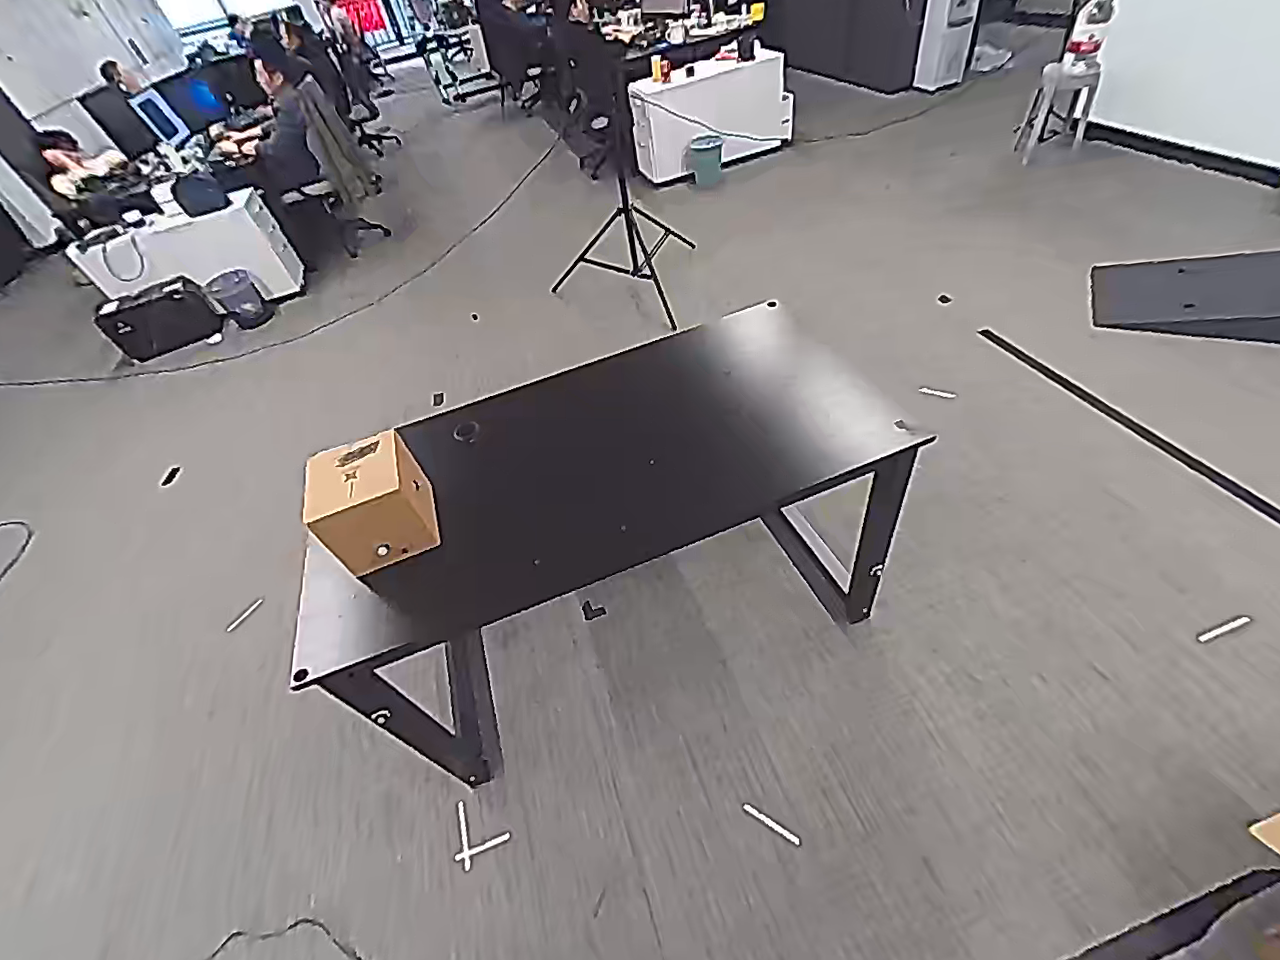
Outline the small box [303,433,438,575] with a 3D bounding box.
[{"bbox_3d":[-0.501,0.046,1.022,0.168,0.176,0.179,-22,48,-8],"label":"small box"}]
